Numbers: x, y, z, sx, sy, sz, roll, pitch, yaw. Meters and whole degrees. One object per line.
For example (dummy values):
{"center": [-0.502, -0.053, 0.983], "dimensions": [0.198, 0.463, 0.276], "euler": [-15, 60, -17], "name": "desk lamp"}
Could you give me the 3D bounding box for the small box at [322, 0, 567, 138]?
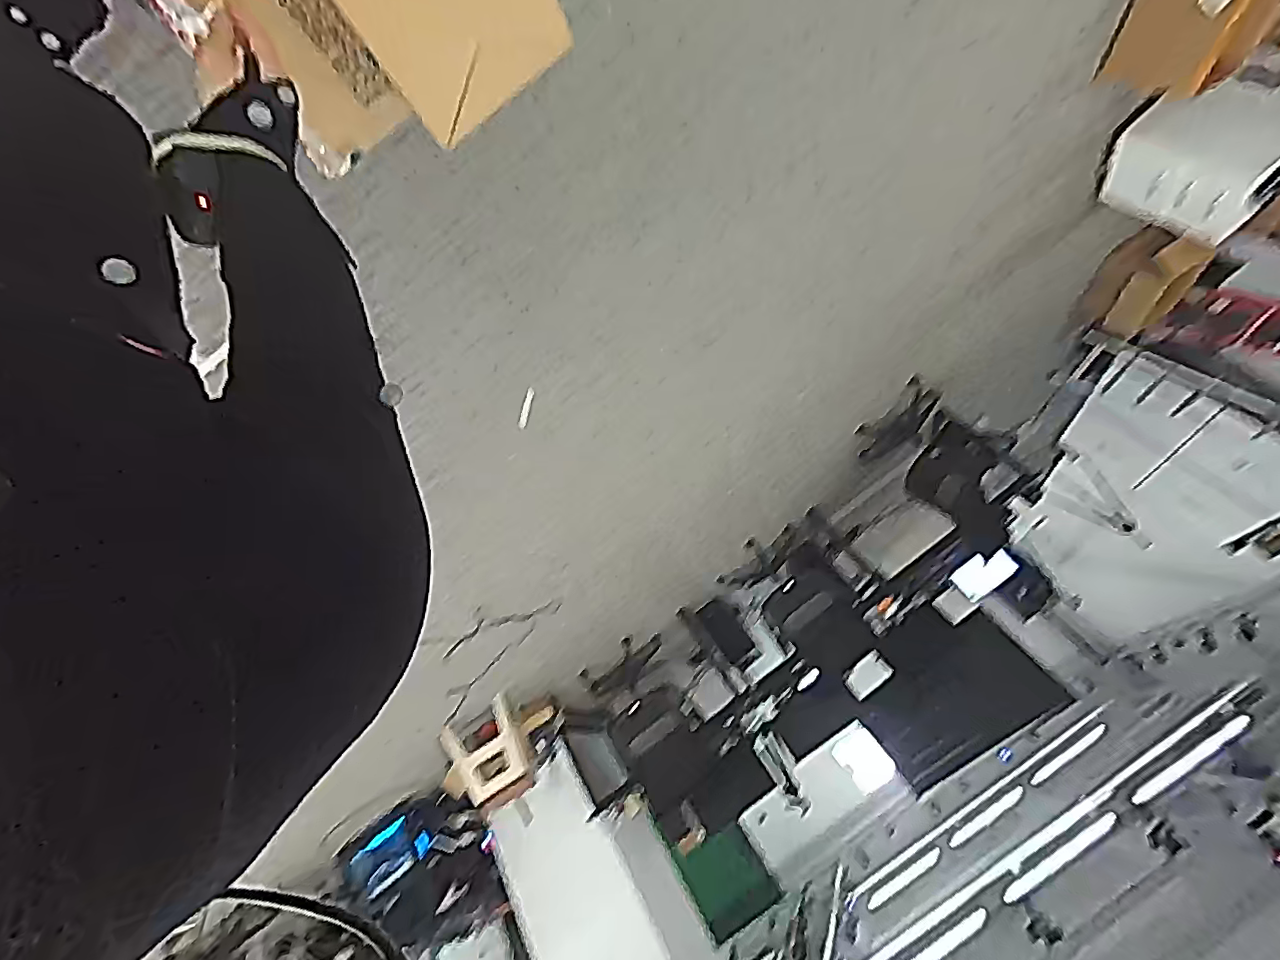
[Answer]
{"center": [-0.206, -0.480, 0.536], "dimensions": [0.179, 0.176, 0.168], "euler": [-38, 151, 3], "name": "small box"}
